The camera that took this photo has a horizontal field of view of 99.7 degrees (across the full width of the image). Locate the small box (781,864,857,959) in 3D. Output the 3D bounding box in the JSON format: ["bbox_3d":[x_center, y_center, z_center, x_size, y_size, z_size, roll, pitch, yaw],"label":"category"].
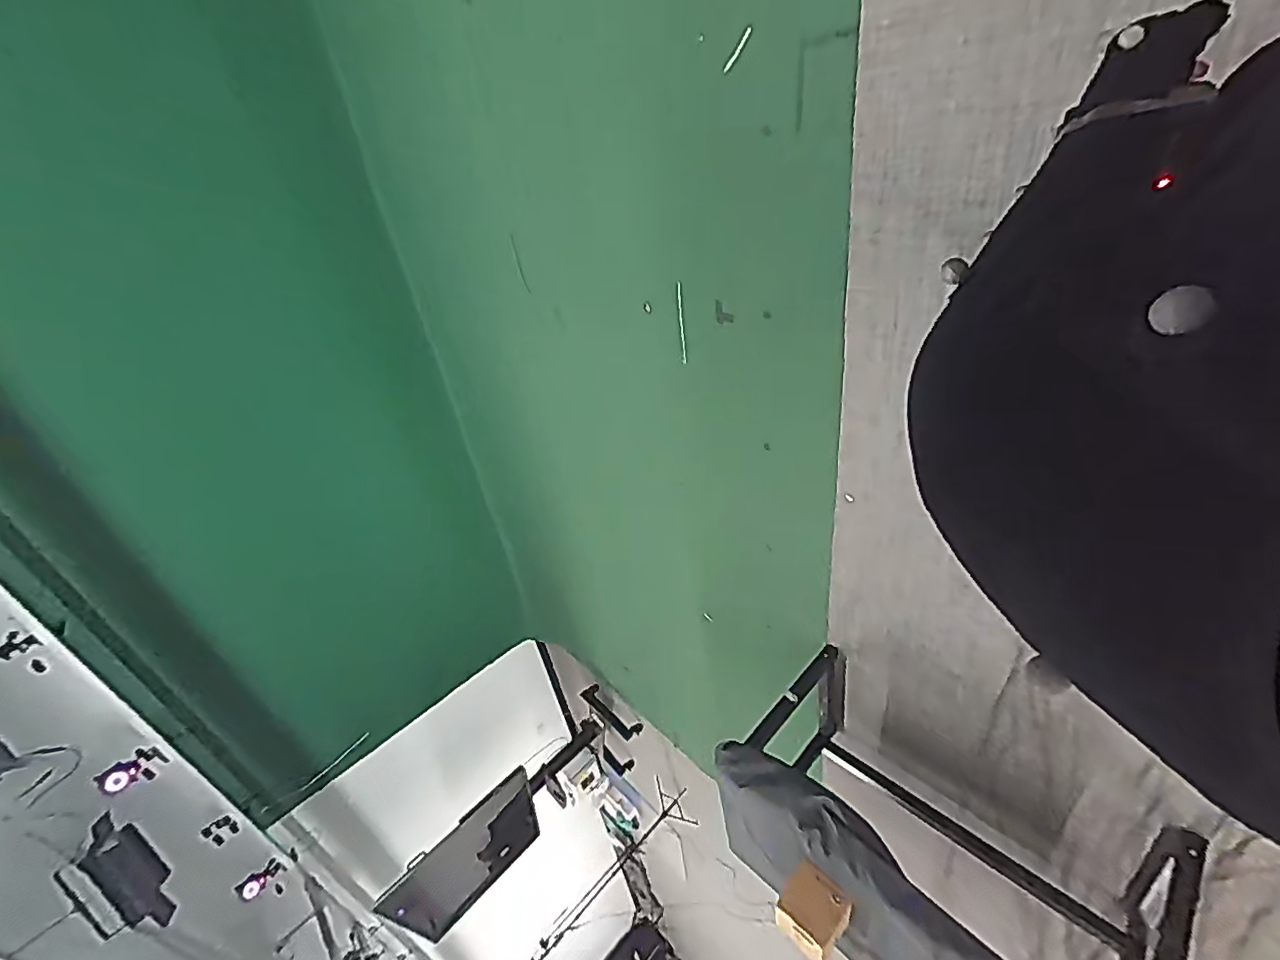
[{"bbox_3d":[0.559,1.358,1.689,0.168,0.176,0.179,23,136,41],"label":"small box"}]
